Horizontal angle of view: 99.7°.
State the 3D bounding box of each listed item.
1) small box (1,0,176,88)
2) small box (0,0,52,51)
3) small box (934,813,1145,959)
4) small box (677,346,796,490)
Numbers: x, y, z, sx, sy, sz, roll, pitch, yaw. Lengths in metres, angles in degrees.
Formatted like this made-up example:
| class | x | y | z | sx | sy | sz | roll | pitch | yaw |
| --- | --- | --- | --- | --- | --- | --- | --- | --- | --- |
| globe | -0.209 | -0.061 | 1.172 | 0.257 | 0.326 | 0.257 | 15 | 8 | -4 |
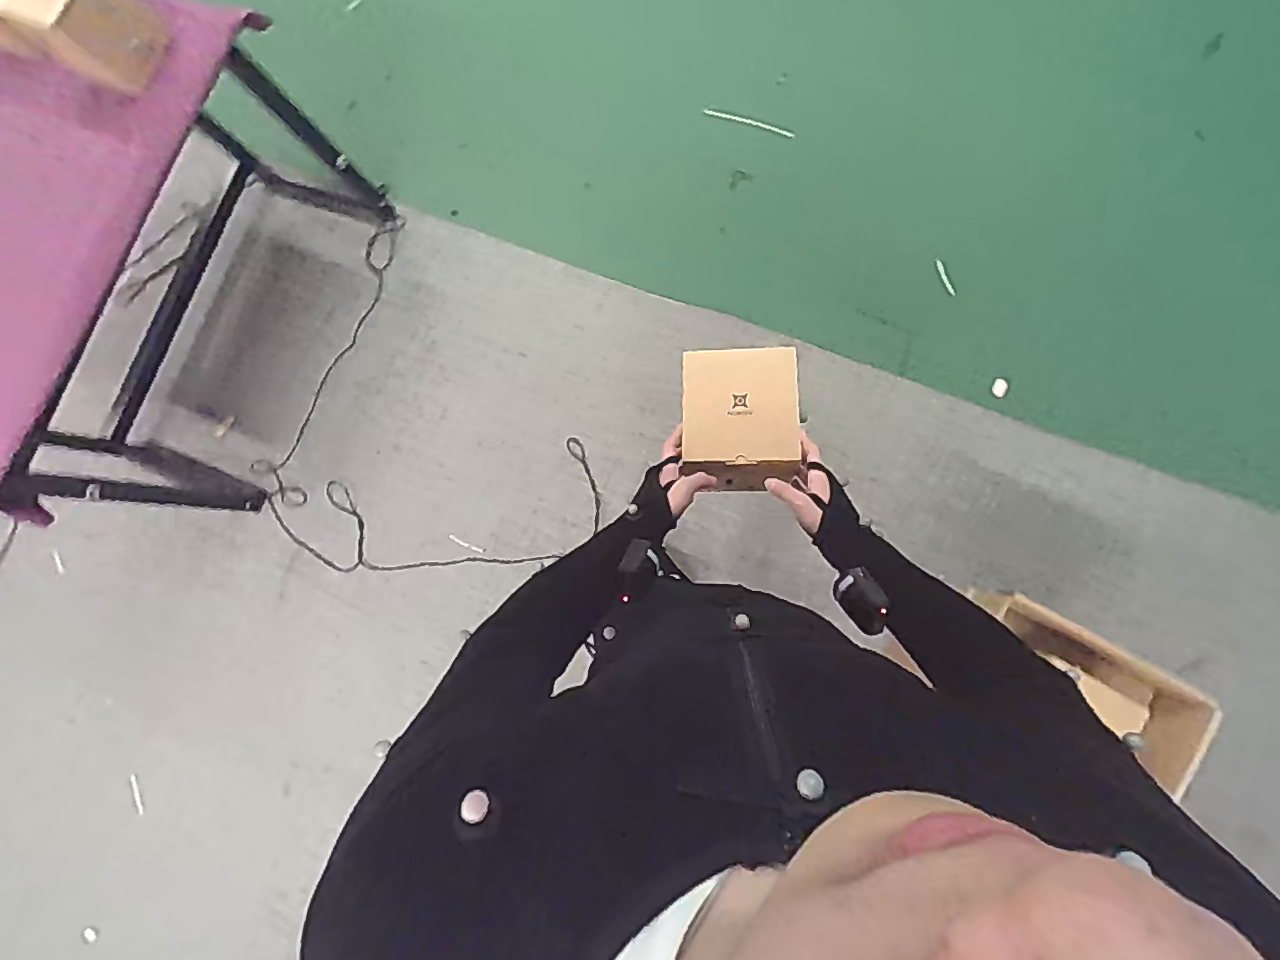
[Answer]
| class | x | y | z | sx | sy | sz | roll | pitch | yaw |
| --- | --- | --- | --- | --- | --- | --- | --- | --- | --- |
| small box | -1.164 | -0.988 | 1.153 | 0.179 | 0.176 | 0.168 | 25 | 88 | 11 |
| small box | -1.455 | -1.113 | 1.208 | 0.179 | 0.176 | 0.168 | 23 | 89 | 8 |
| small box | 0.612 | 0.675 | 0.854 | 0.179 | 0.176 | 0.168 | 31 | 87 | 11 |
| small box | 0.143 | -0.088 | 0.841 | 0.168 | 0.176 | 0.179 | -1 | 76 | 7 |
